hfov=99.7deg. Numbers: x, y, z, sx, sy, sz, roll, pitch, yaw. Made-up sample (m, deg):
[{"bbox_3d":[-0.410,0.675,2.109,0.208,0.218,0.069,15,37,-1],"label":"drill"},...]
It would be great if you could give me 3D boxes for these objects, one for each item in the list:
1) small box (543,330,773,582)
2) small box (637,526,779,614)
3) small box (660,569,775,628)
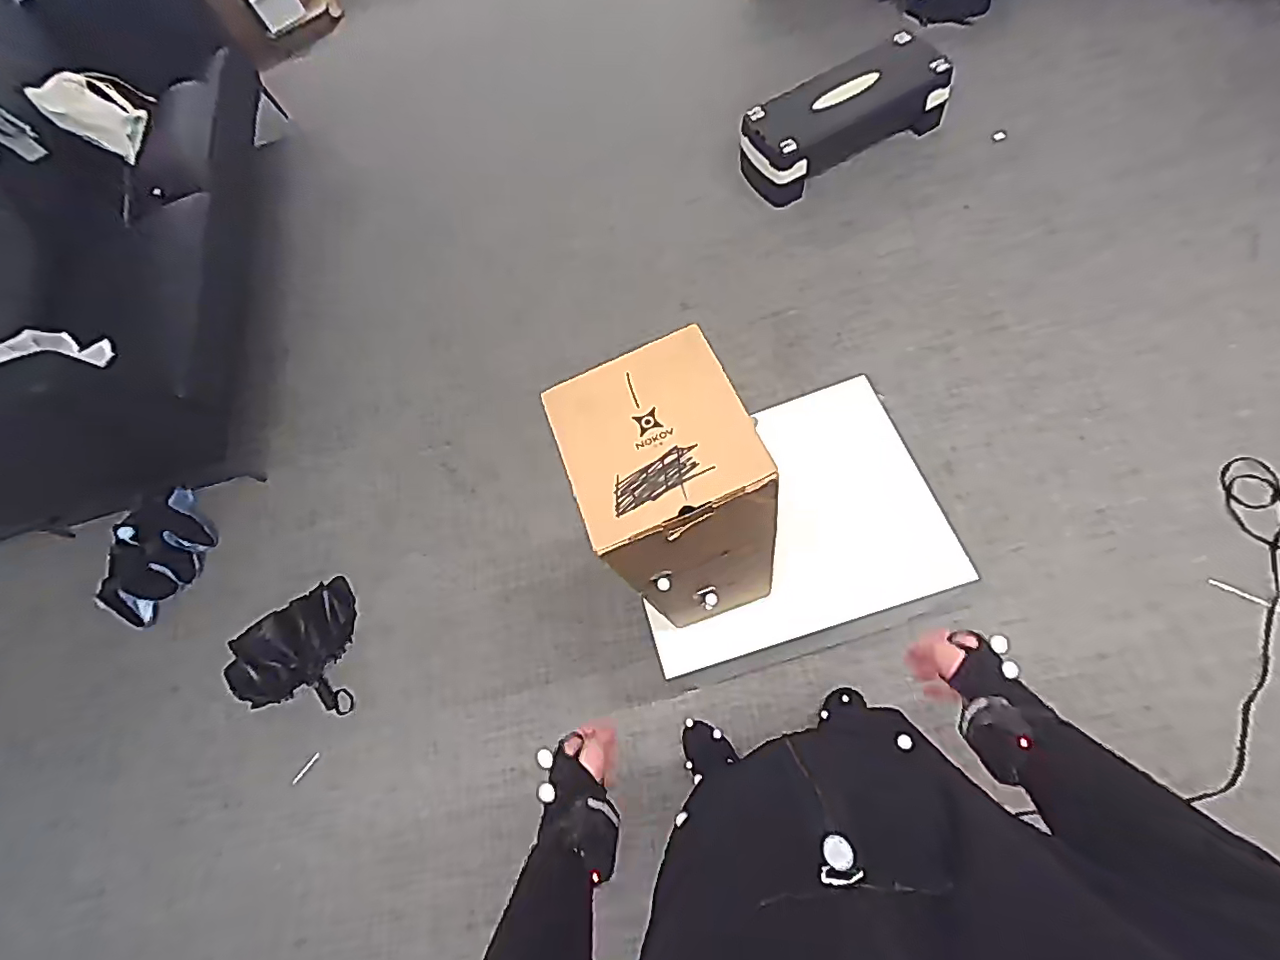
[{"bbox_3d":[0.027,-0.009,0.549,0.168,0.176,0.179,-24,63,3],"label":"small box"},{"bbox_3d":[0.065,0.053,0.697,0.168,0.176,0.179,-24,65,4],"label":"small box"},{"bbox_3d":[0.099,0.113,0.844,0.168,0.176,0.179,-21,64,4],"label":"small box"}]
